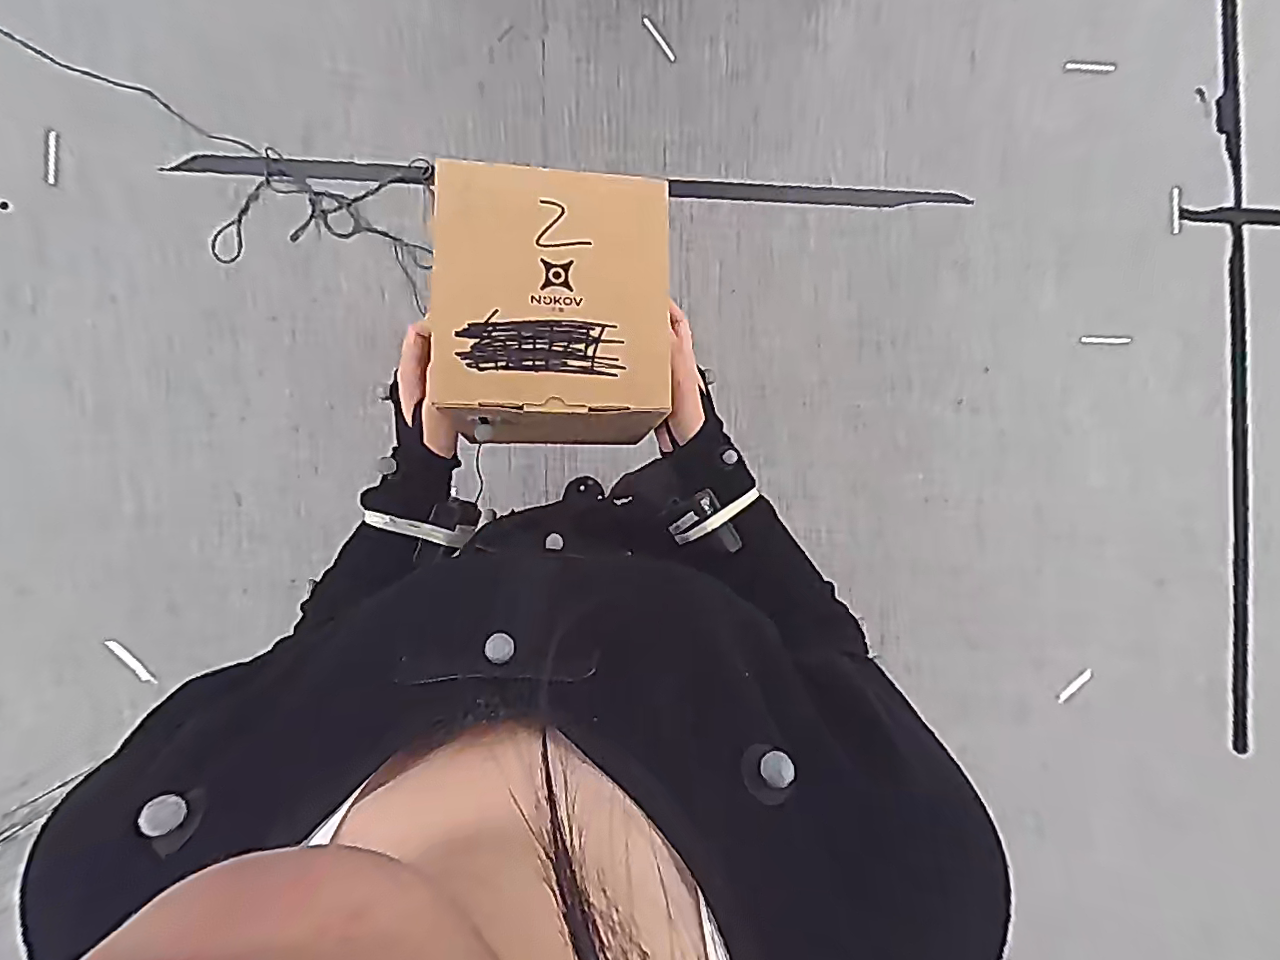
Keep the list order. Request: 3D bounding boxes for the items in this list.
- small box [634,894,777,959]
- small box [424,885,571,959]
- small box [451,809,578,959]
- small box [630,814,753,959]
[{"bbox_3d":[0.079,0.646,0.661,0.168,0.176,0.179,0,91,-3],"label":"small box"},{"bbox_3d":[-0.170,0.631,0.644,0.168,0.176,0.179,2,90,-5],"label":"small box"},{"bbox_3d":[-0.181,0.621,0.806,0.168,0.176,0.179,2,89,-4],"label":"small box"},{"bbox_3d":[0.071,0.649,0.823,0.168,0.176,0.179,-1,90,-4],"label":"small box"}]
